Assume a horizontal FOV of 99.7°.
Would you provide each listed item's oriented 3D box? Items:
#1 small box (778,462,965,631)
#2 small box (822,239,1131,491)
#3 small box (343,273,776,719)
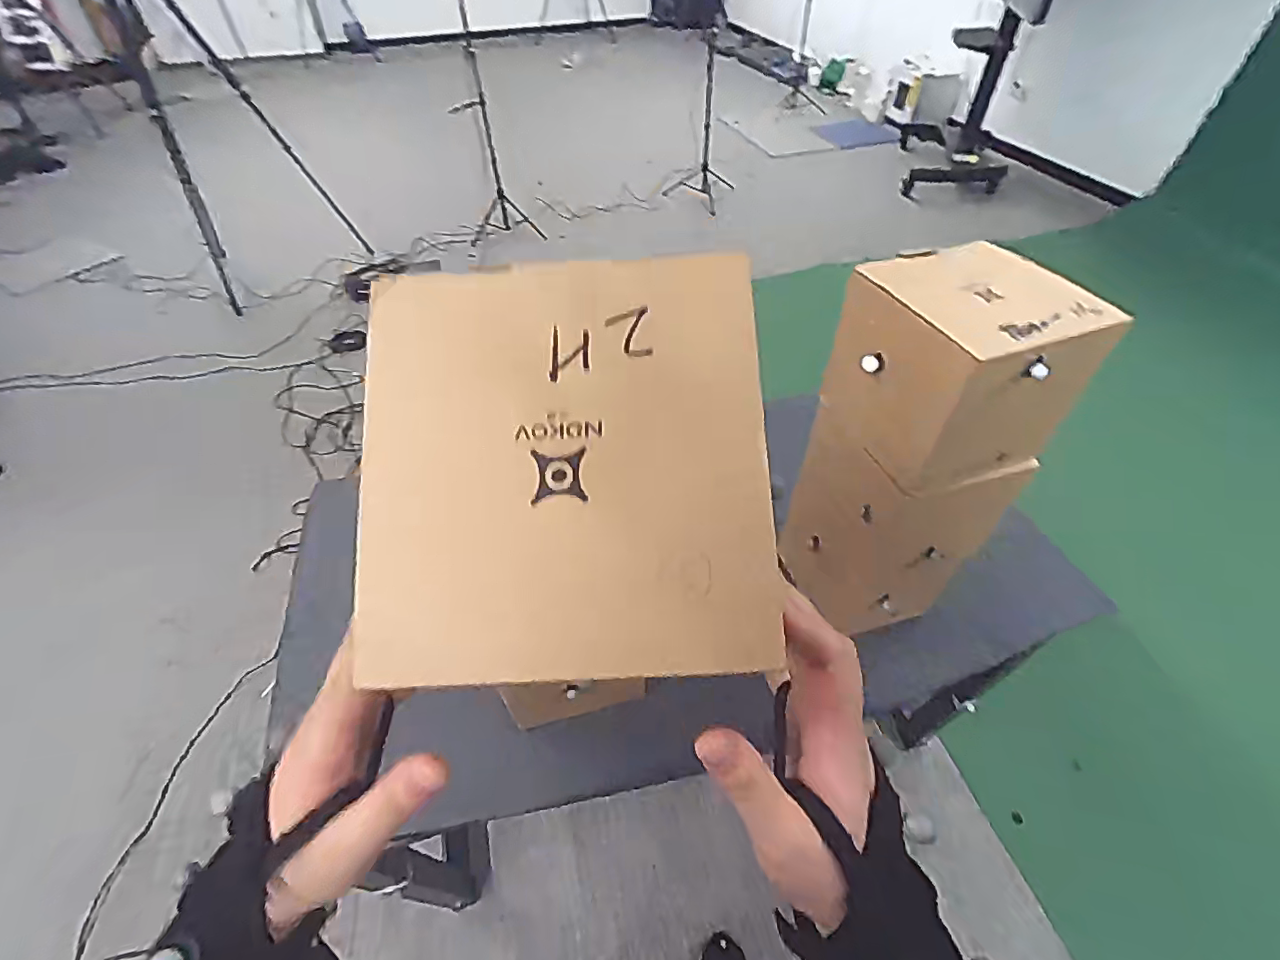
[{"bbox_3d":[0.322,0.102,0.794,0.168,0.176,0.179,-13,48,-10],"label":"small box"},{"bbox_3d":[0.312,-0.118,0.551,0.168,0.176,0.179,-16,48,-12],"label":"small box"},{"bbox_3d":[-0.029,0.016,0.293,0.168,0.176,0.179,-3,78,2],"label":"small box"}]
